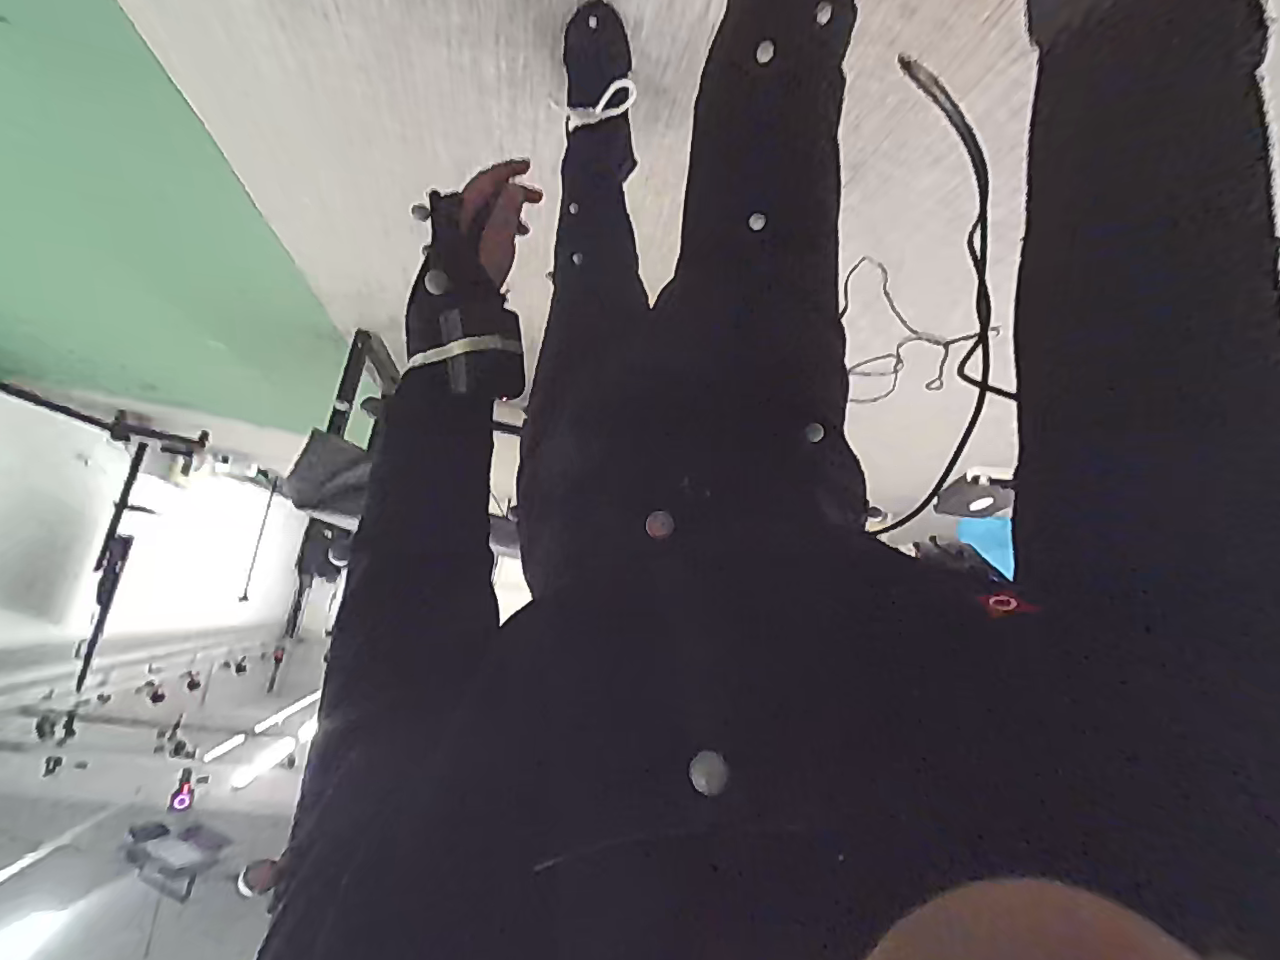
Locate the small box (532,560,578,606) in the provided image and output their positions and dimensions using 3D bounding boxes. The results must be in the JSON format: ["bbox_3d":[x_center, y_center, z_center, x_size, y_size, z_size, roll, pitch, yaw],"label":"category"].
[{"bbox_3d":[-0.364,0.440,2.313,0.168,0.176,0.179,12,167,-10],"label":"small box"}]
